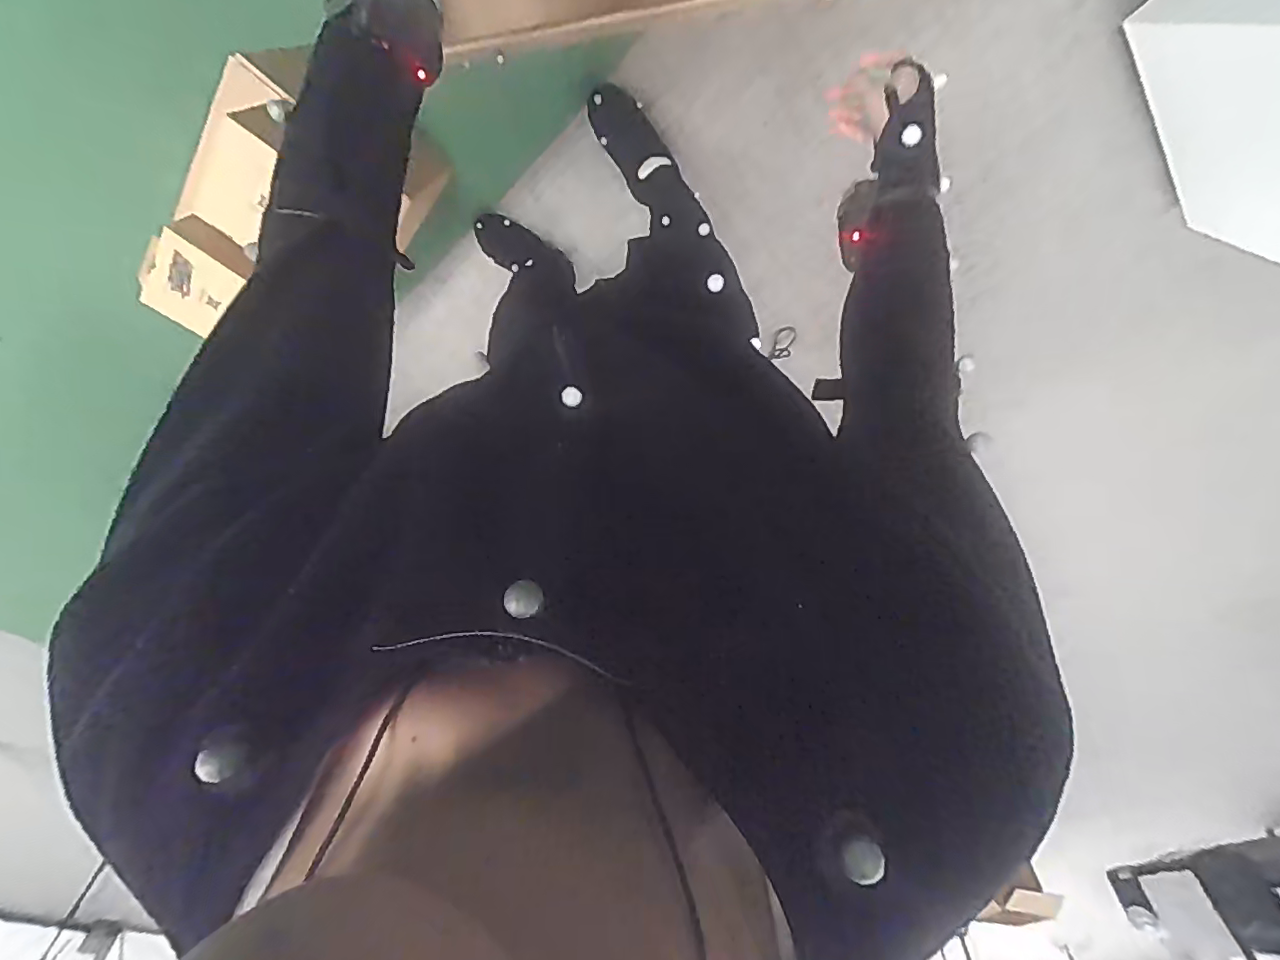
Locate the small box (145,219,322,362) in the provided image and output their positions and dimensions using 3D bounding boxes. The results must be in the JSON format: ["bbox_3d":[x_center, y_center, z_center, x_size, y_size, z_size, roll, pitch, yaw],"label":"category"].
[{"bbox_3d":[-0.728,-0.356,0.984,0.179,0.176,0.168,36,122,-26],"label":"small box"}]
